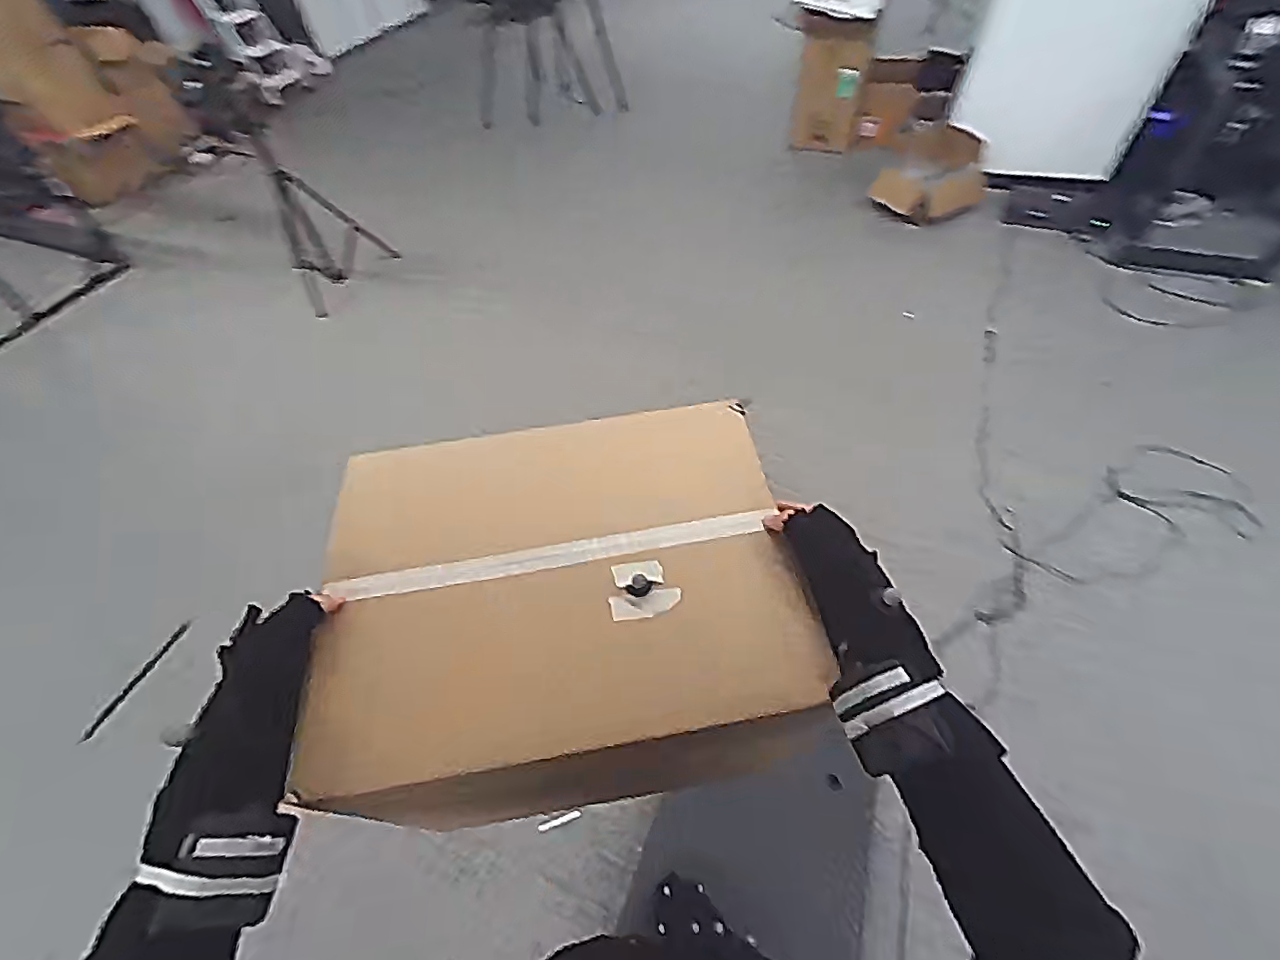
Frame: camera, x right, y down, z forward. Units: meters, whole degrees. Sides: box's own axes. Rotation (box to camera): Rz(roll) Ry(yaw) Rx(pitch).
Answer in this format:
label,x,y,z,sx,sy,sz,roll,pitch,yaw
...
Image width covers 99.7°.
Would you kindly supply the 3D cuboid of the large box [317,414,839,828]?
label,x,y,z,sx,sy,sz,roll,pitch,yaw
large box,-0.059,0.165,0.609,0.408,0.320,0.320,-8,54,-3
